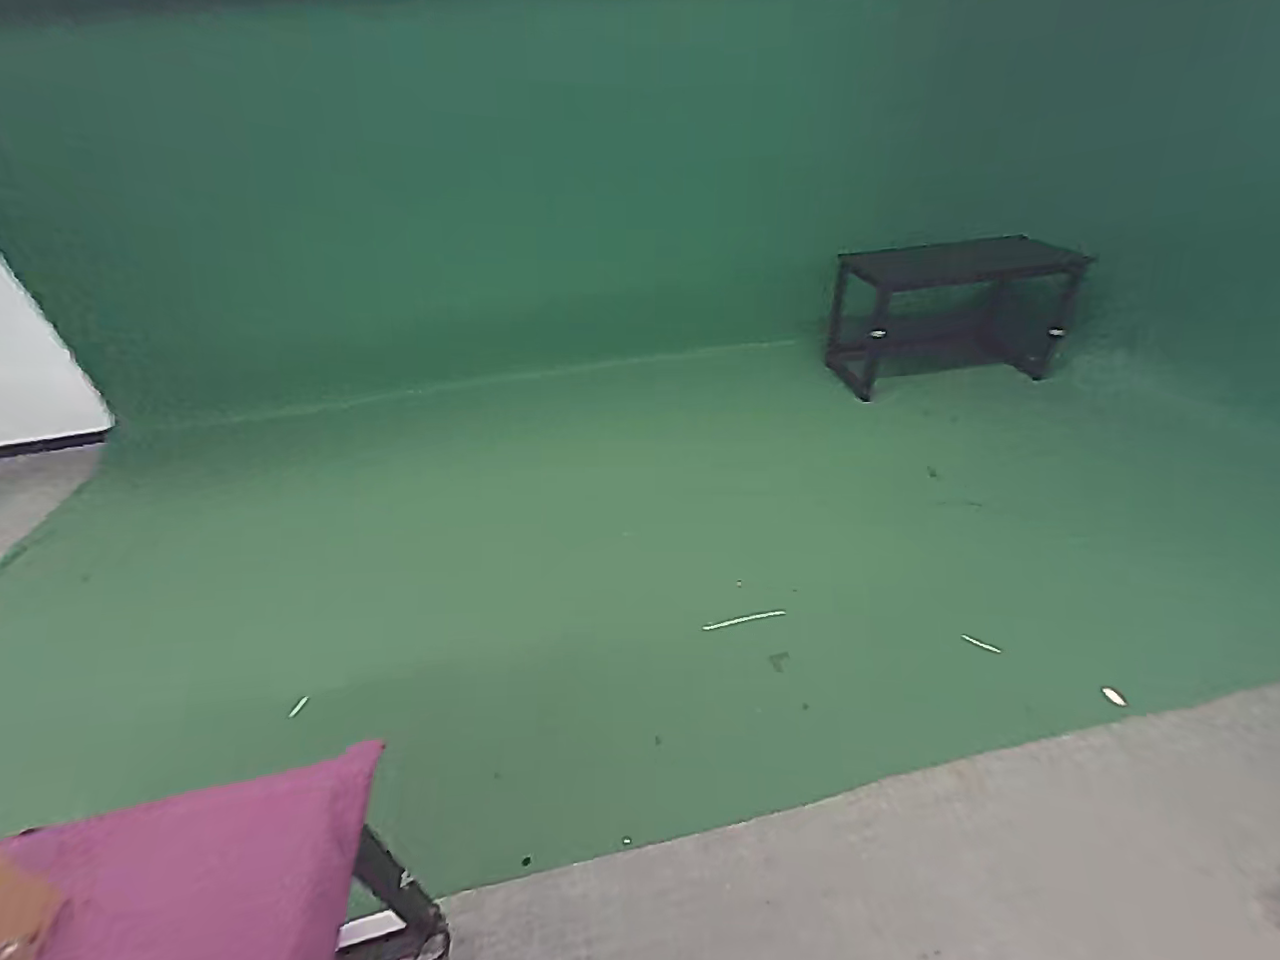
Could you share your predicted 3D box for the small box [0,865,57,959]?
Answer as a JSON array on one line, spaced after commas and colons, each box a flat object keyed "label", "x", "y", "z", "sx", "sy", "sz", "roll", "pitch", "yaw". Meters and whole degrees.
[{"label": "small box", "x": -0.943, "y": 0.620, "z": 0.692, "sx": 0.179, "sy": 0.176, "sz": 0.168, "roll": -9, "pitch": 39, "yaw": -7}]
